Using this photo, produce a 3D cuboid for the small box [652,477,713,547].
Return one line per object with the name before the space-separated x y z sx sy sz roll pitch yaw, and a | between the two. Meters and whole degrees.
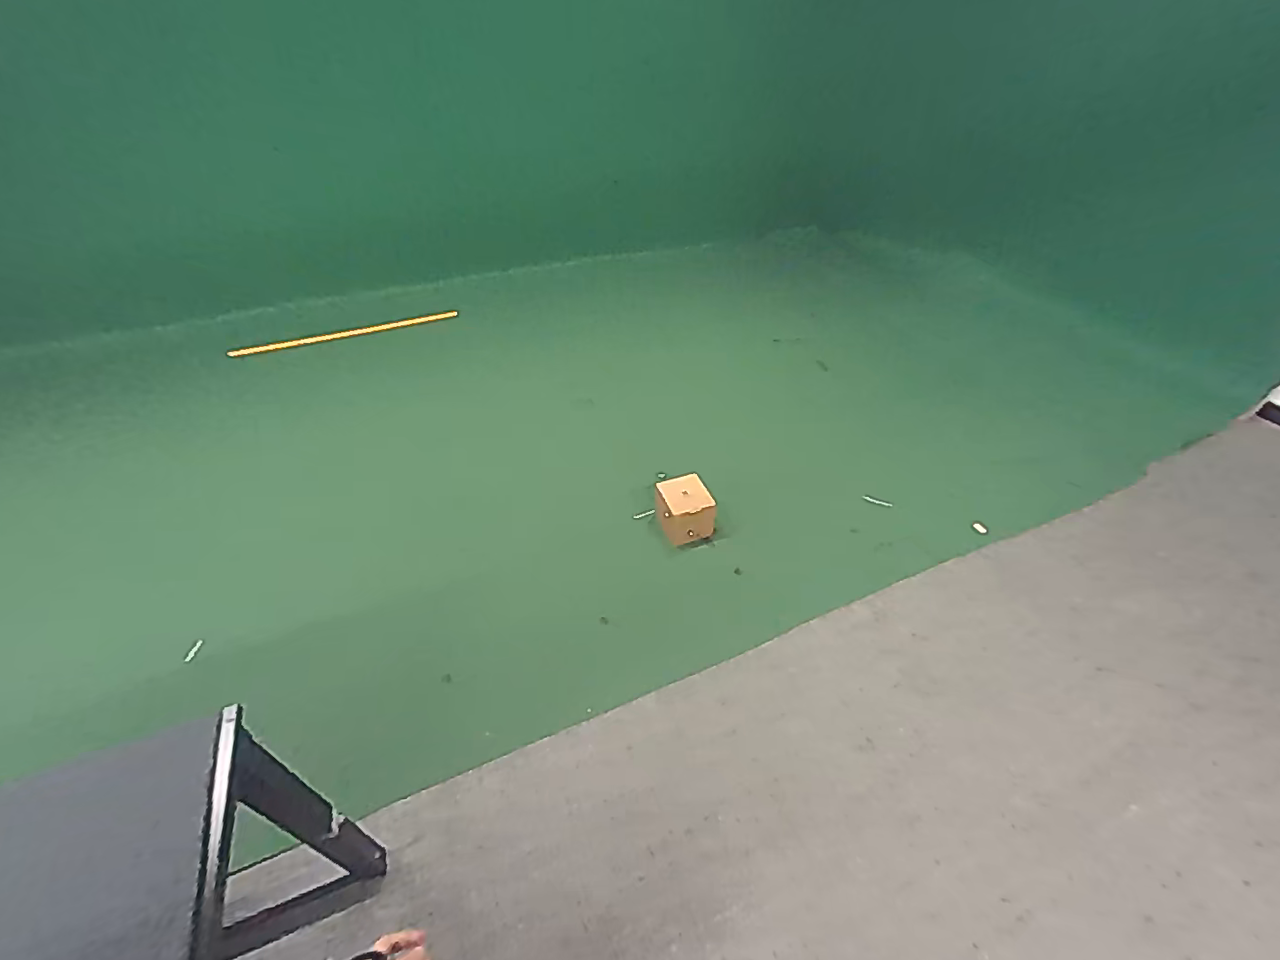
small box | 0.150 0.119 1.996 0.168 0.176 0.179 -15 45 -16
